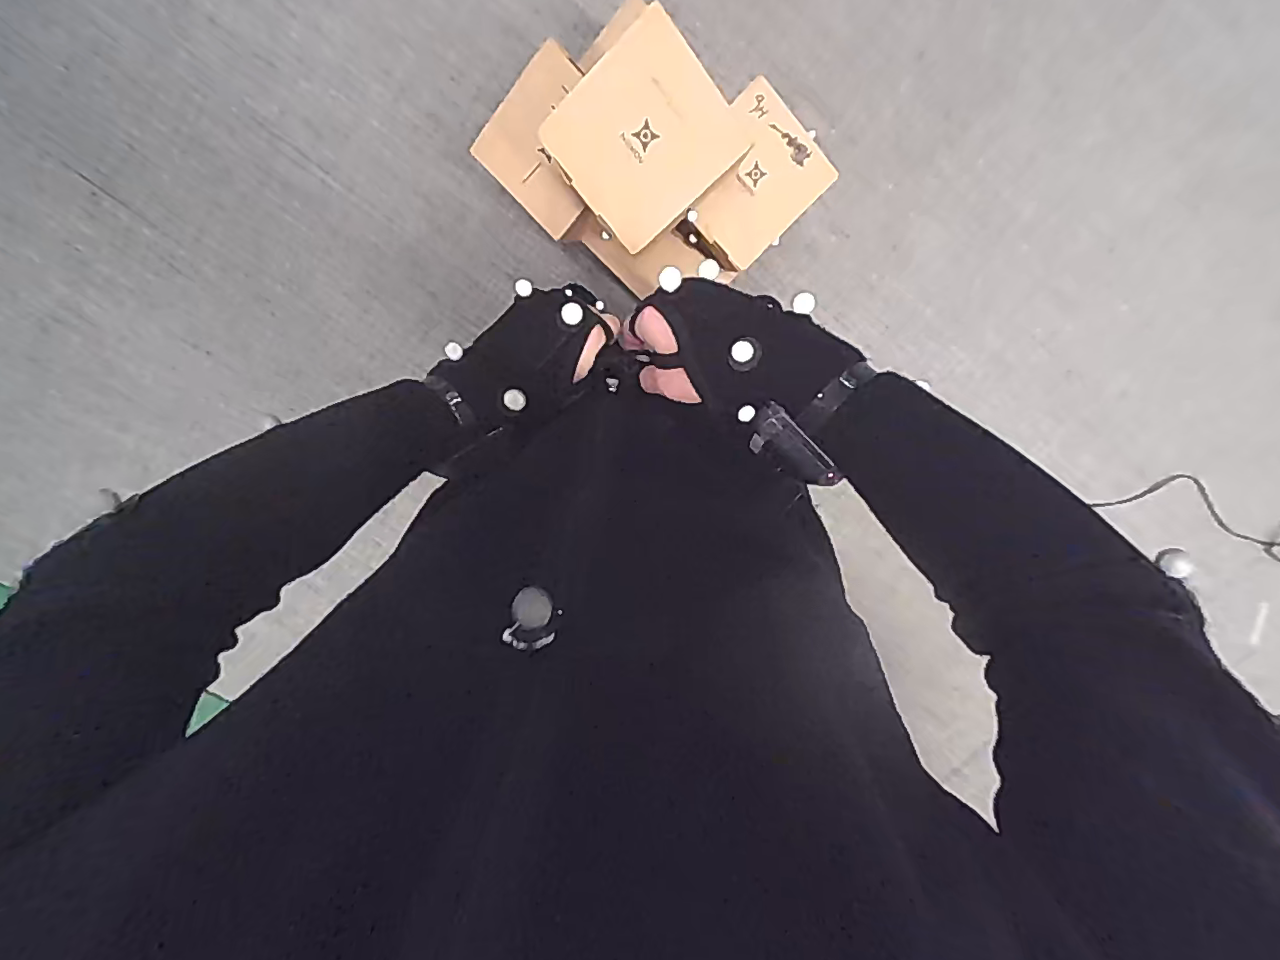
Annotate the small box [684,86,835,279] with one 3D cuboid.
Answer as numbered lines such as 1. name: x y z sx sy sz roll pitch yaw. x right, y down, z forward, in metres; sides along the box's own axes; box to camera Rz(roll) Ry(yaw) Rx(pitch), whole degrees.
1. small box: 0.153 -0.422 0.806 0.179 0.176 0.168 -43 103 16

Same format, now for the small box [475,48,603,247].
1. small box: -0.105 -0.473 0.801 0.179 0.176 0.168 -41 104 19

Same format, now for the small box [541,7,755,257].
1. small box: 0.012 -0.389 0.651 0.179 0.176 0.168 -39 105 15
